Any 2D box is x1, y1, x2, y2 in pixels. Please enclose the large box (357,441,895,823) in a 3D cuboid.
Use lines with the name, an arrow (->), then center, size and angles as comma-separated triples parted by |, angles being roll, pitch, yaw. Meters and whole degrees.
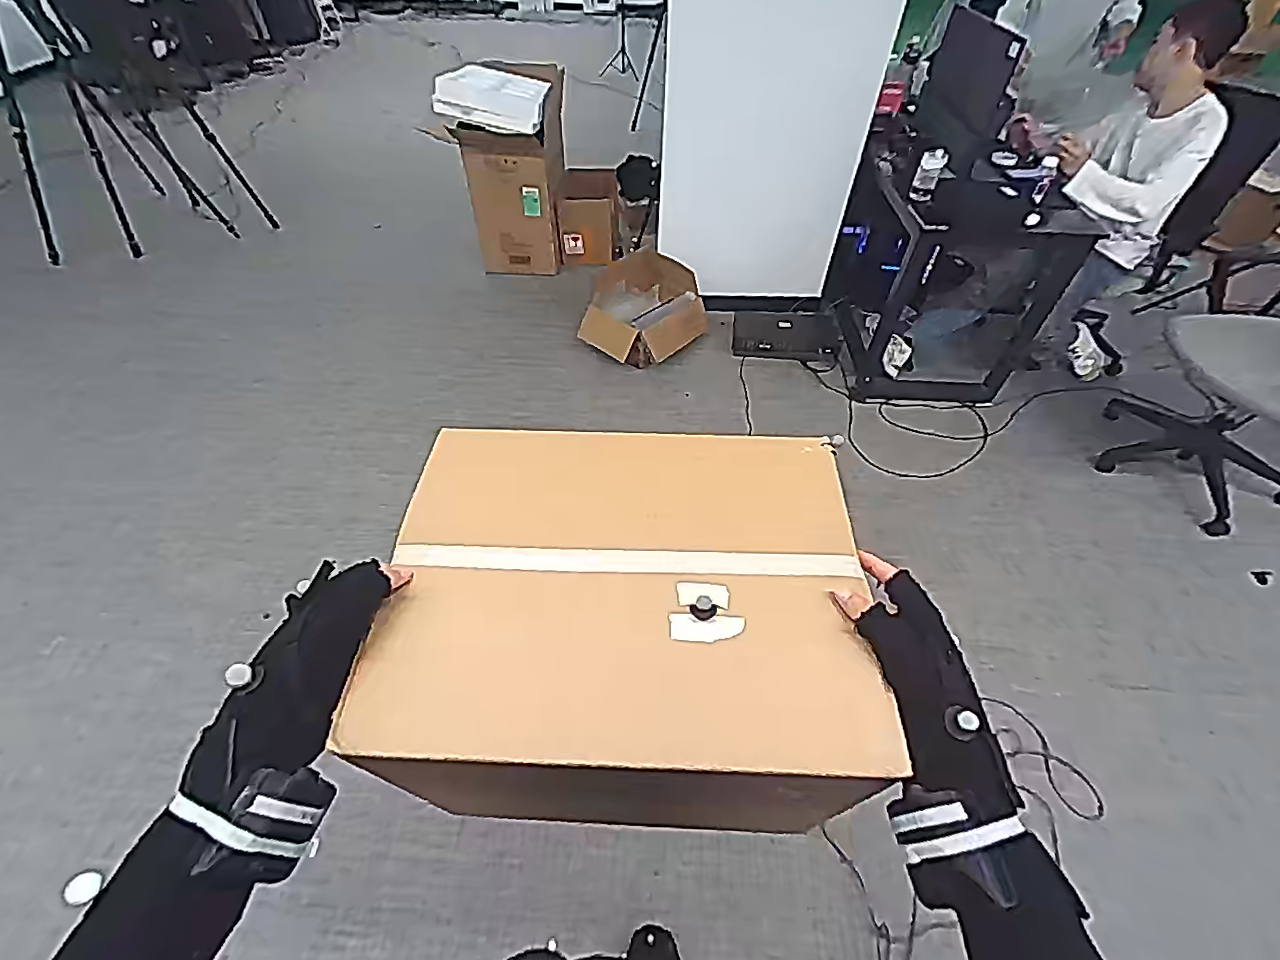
large box -> -0.009, 0.174, 0.600 | 0.408, 0.320, 0.320 | 2, 51, 1
